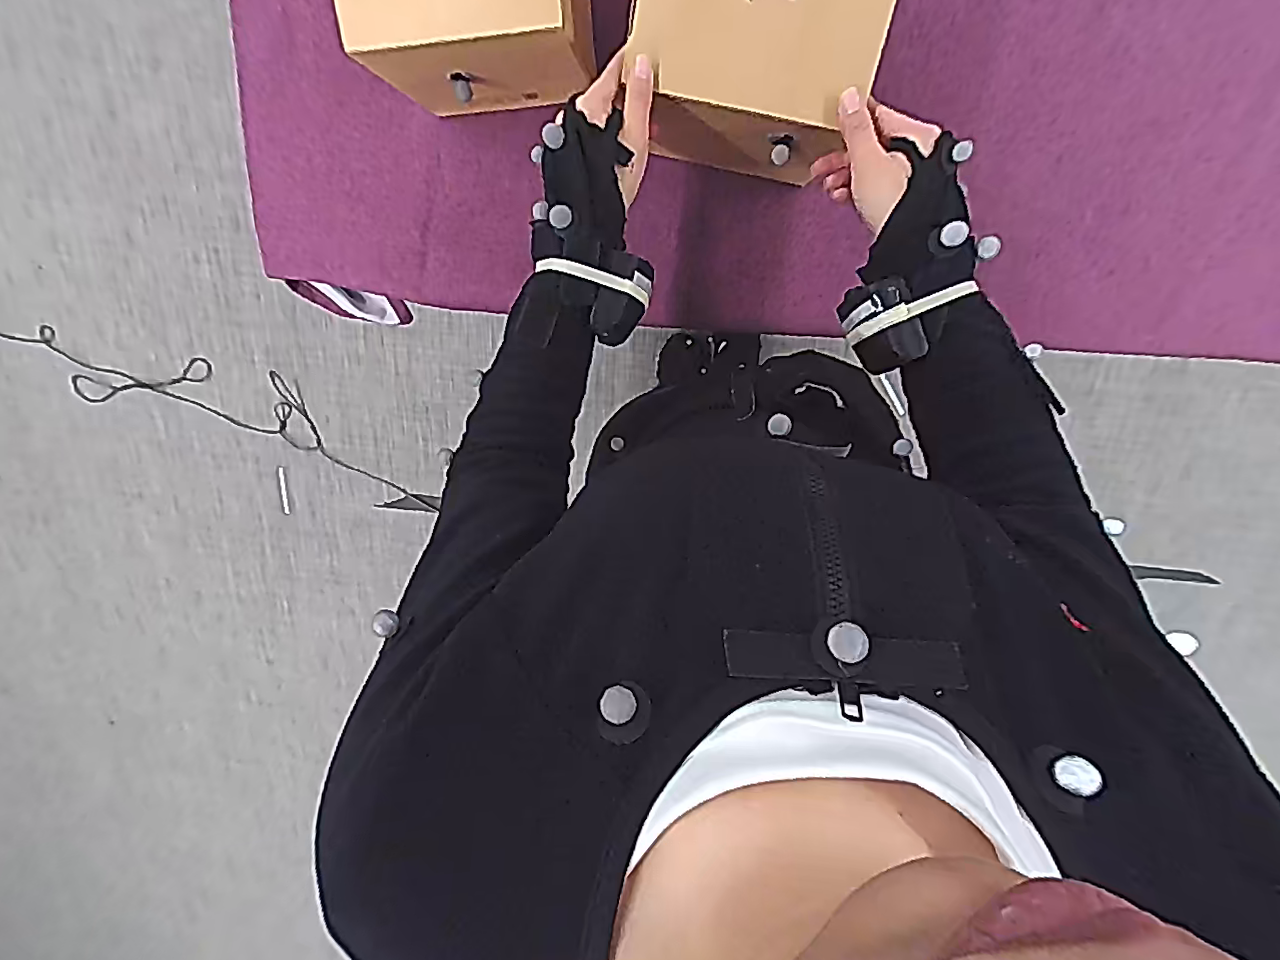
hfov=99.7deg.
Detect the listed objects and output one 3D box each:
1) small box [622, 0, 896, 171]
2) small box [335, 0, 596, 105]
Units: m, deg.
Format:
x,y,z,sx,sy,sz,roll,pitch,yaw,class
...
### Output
x,y,z,sx,sy,sz,roll,pitch,yaw,class
0.093,-0.368,0.433,0.179,0.176,0.168,12,107,1,small box
-0.134,-0.428,0.435,0.168,0.176,0.179,-3,109,6,small box
